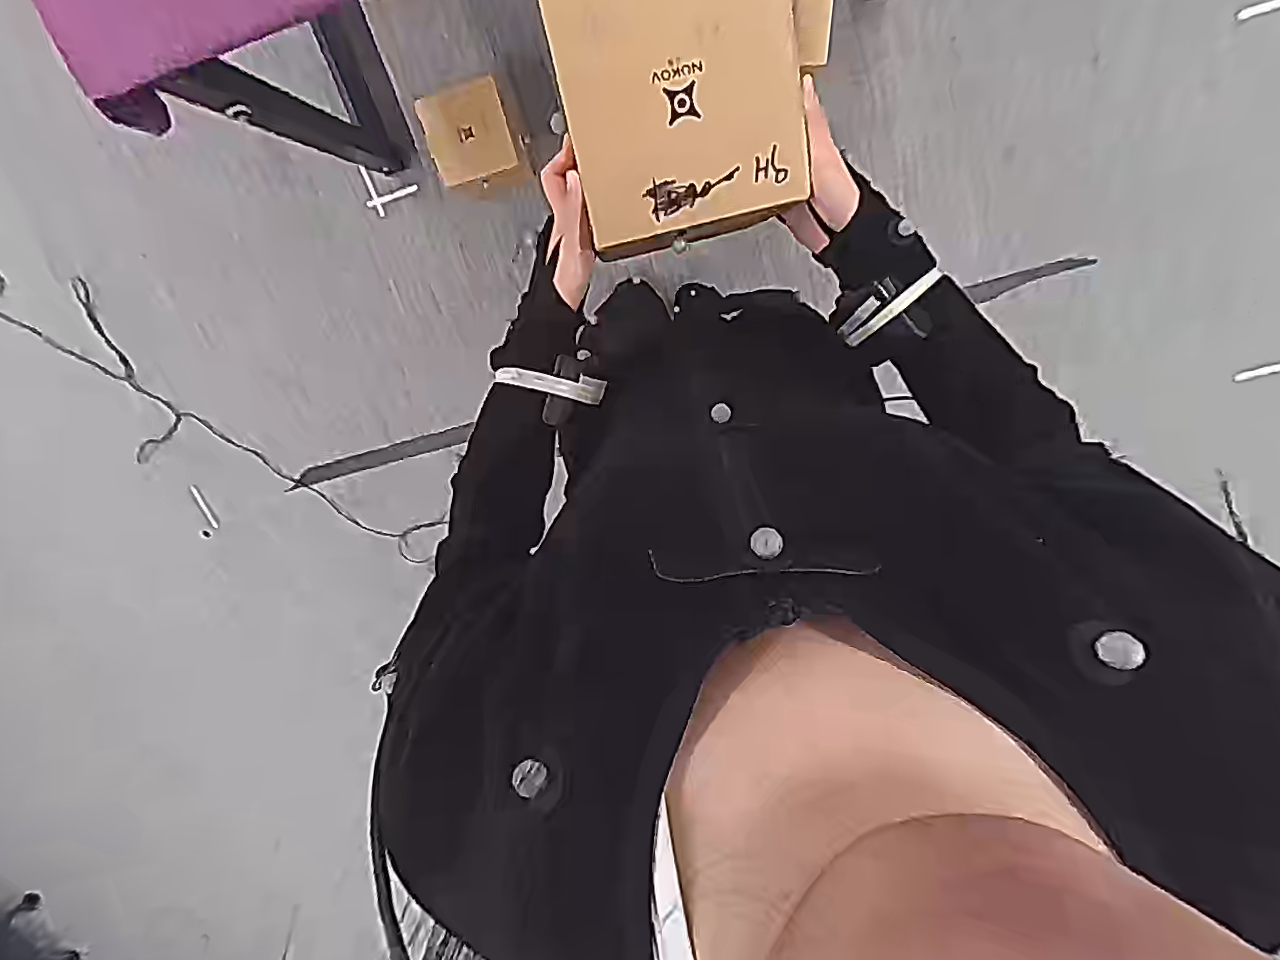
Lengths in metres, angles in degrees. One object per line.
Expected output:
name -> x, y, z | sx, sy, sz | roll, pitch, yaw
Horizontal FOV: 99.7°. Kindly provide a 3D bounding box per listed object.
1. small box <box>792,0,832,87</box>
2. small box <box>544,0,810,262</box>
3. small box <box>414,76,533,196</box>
small box -> 0.278, -0.912, 1.100 | 0.179, 0.176, 0.168 | 1, 111, 3
small box -> 0.024, -0.293, 0.448 | 0.168, 0.176, 0.179 | -12, 108, 1
small box -> -0.355, -0.743, 1.188 | 0.179, 0.176, 0.168 | -14, 111, 6
